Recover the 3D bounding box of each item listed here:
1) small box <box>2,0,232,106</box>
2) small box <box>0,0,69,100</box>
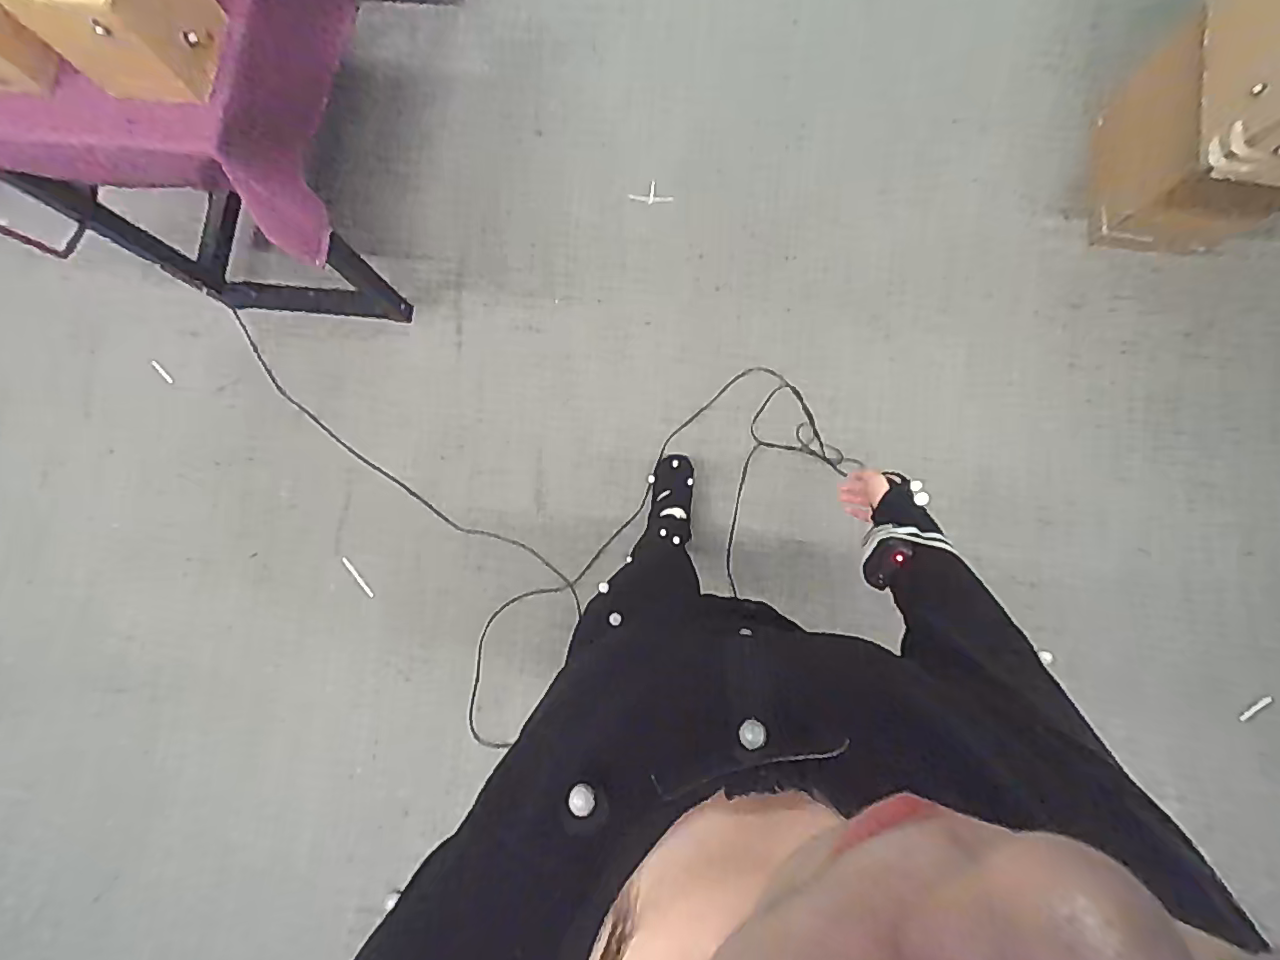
[{"bbox_3d":[-0.799,-0.726,0.845,0.179,0.176,0.168,7,82,4],"label":"small box"},{"bbox_3d":[-1.069,-0.758,0.863,0.168,0.176,0.179,7,82,4],"label":"small box"}]
